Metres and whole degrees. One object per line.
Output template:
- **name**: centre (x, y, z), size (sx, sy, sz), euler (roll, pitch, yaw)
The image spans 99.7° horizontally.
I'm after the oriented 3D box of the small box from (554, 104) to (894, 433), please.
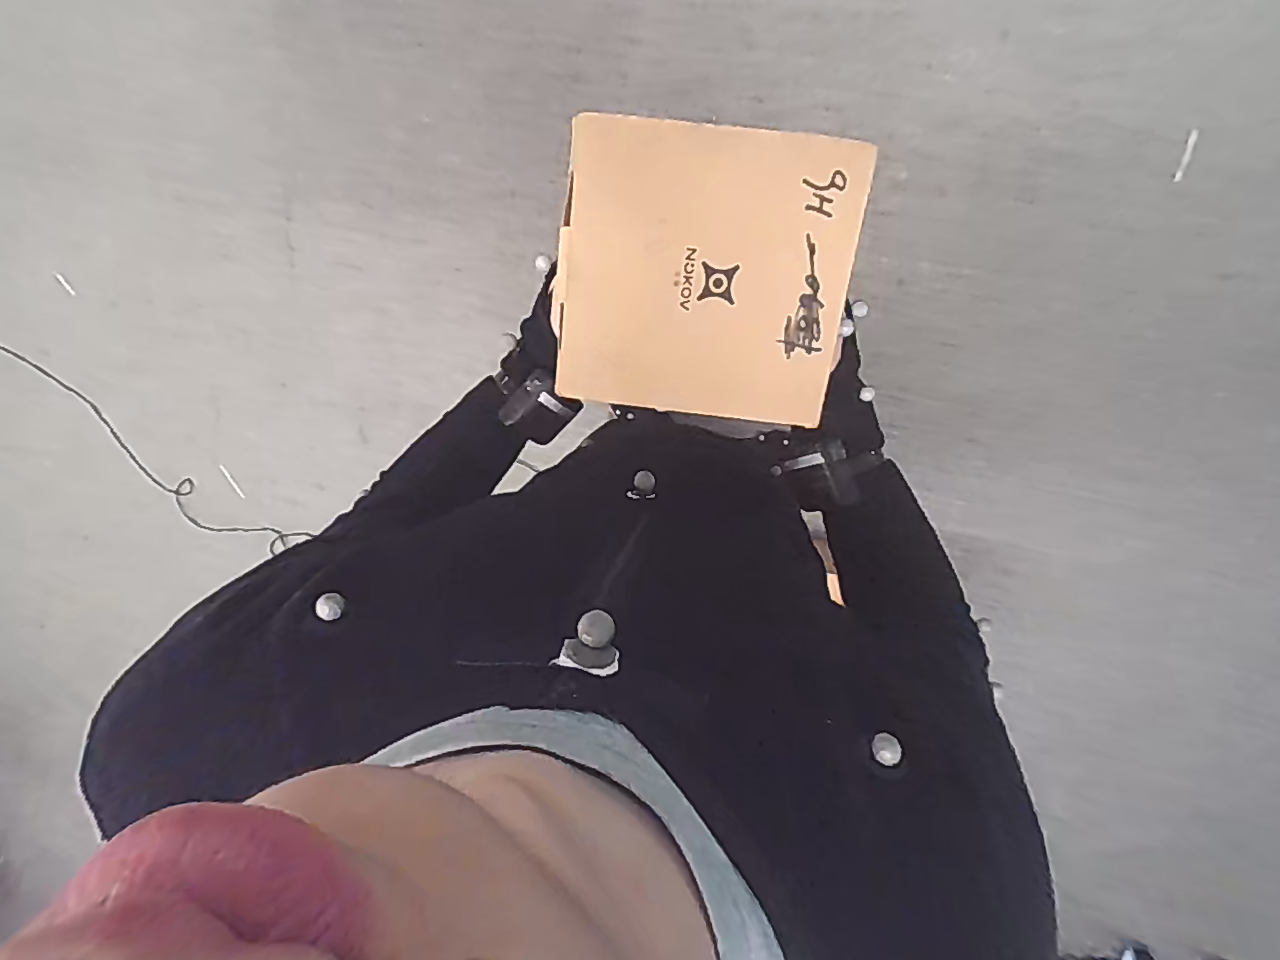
- **small box**: centre (0.047, -0.138, 0.391), size (0.179, 0.176, 0.168), euler (7, 106, 1)
